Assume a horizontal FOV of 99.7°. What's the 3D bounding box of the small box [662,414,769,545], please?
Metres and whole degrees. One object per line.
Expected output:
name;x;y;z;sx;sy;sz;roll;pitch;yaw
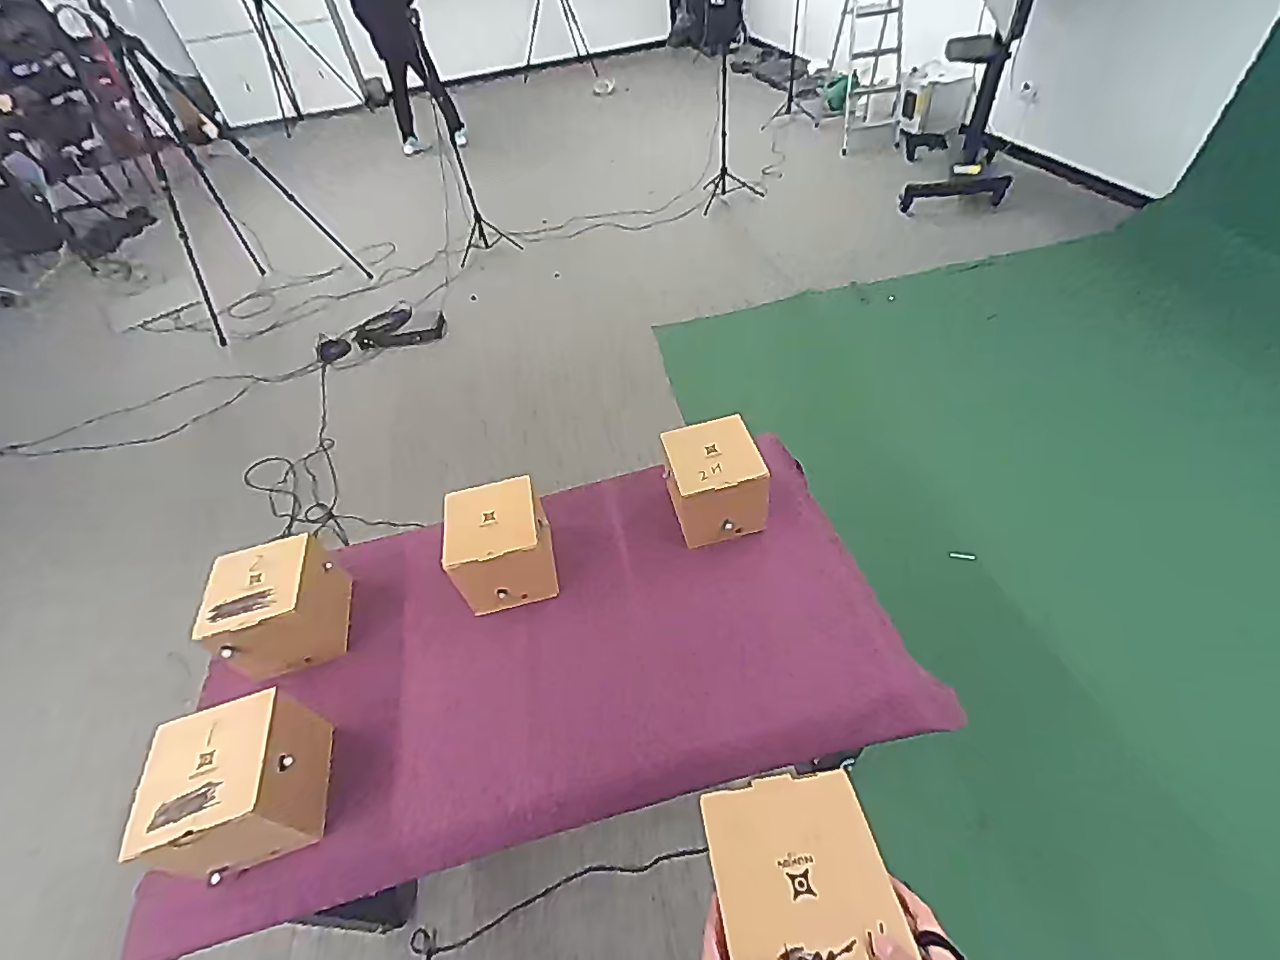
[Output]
small box;0.145;0.000;1.074;0.168;0.176;0.179;-14;48;-2

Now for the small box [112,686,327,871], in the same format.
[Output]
small box;-0.581;0.435;0.780;0.168;0.176;0.179;-17;46;-8

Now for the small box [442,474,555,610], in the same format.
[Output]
small box;-0.264;0.119;1.029;0.168;0.176;0.179;-13;49;-5

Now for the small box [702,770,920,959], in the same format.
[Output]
small box;0.164;0.445;0.574;0.168;0.176;0.179;-10;38;0
